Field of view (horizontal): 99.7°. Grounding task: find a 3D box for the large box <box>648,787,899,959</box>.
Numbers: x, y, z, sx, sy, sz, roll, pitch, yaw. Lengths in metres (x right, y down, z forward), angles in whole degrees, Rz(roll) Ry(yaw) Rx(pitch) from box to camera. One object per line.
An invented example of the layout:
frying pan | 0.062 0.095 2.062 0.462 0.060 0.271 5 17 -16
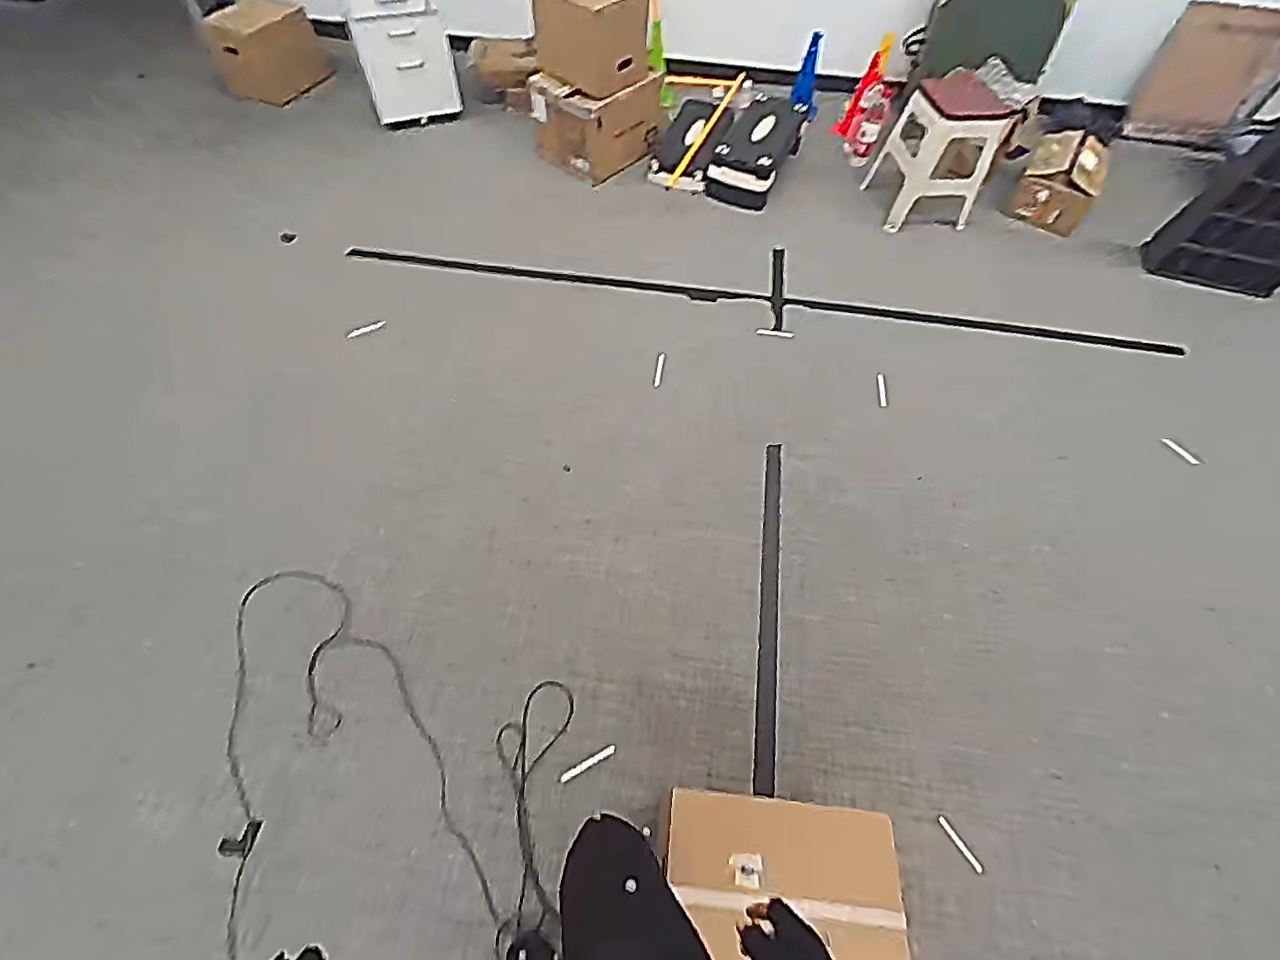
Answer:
large box | 0.233 0.797 1.051 0.408 0.320 0.320 6 58 2
